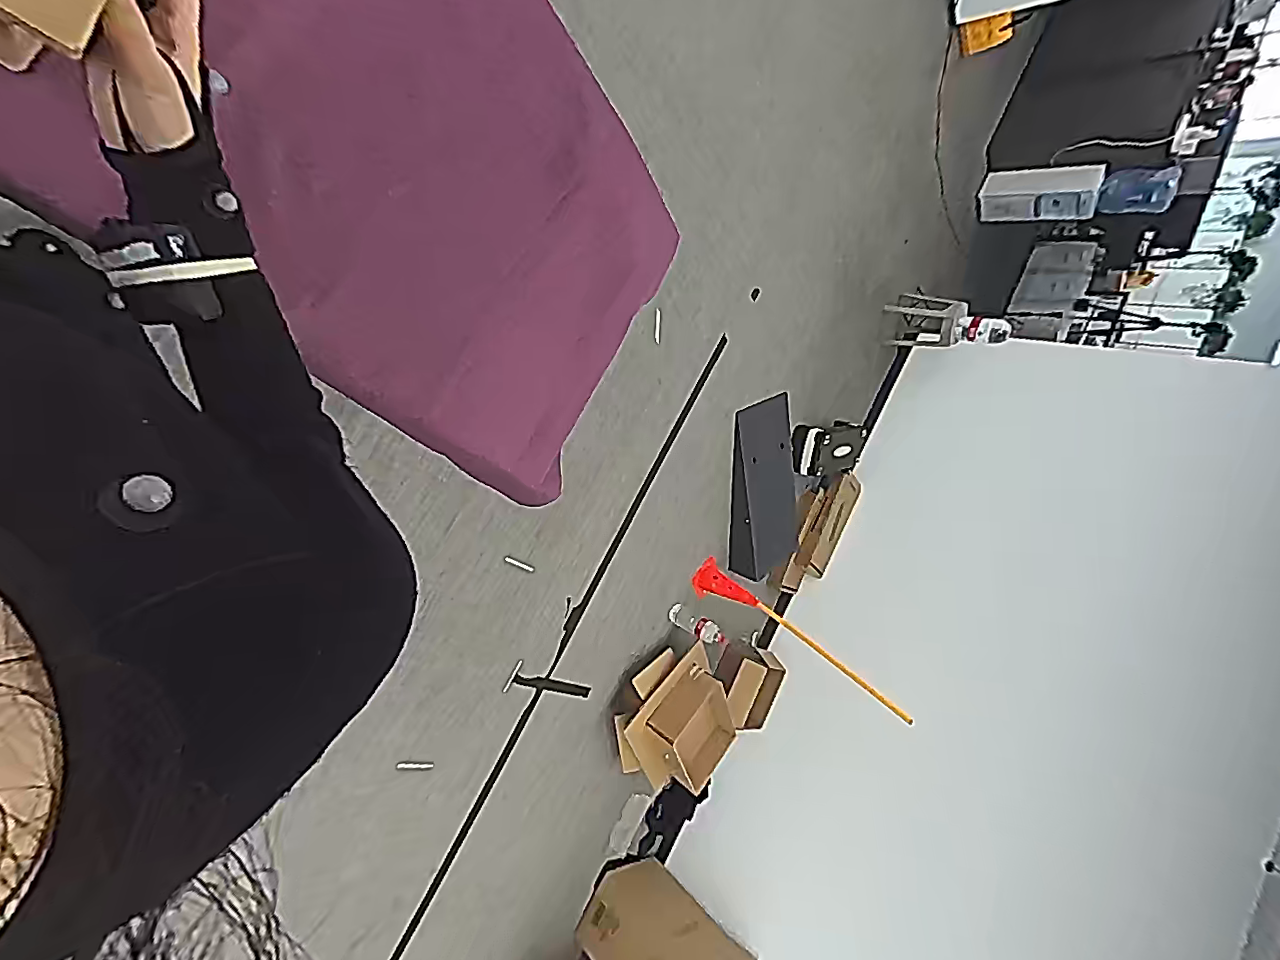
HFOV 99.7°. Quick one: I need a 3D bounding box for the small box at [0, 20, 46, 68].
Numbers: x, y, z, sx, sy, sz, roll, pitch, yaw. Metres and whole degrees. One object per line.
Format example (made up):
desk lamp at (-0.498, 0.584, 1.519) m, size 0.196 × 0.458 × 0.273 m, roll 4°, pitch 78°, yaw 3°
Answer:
small box at (-0.493, -0.440, 0.380) m, size 0.168 × 0.176 × 0.179 m, roll 40°, pitch 74°, yaw -49°
